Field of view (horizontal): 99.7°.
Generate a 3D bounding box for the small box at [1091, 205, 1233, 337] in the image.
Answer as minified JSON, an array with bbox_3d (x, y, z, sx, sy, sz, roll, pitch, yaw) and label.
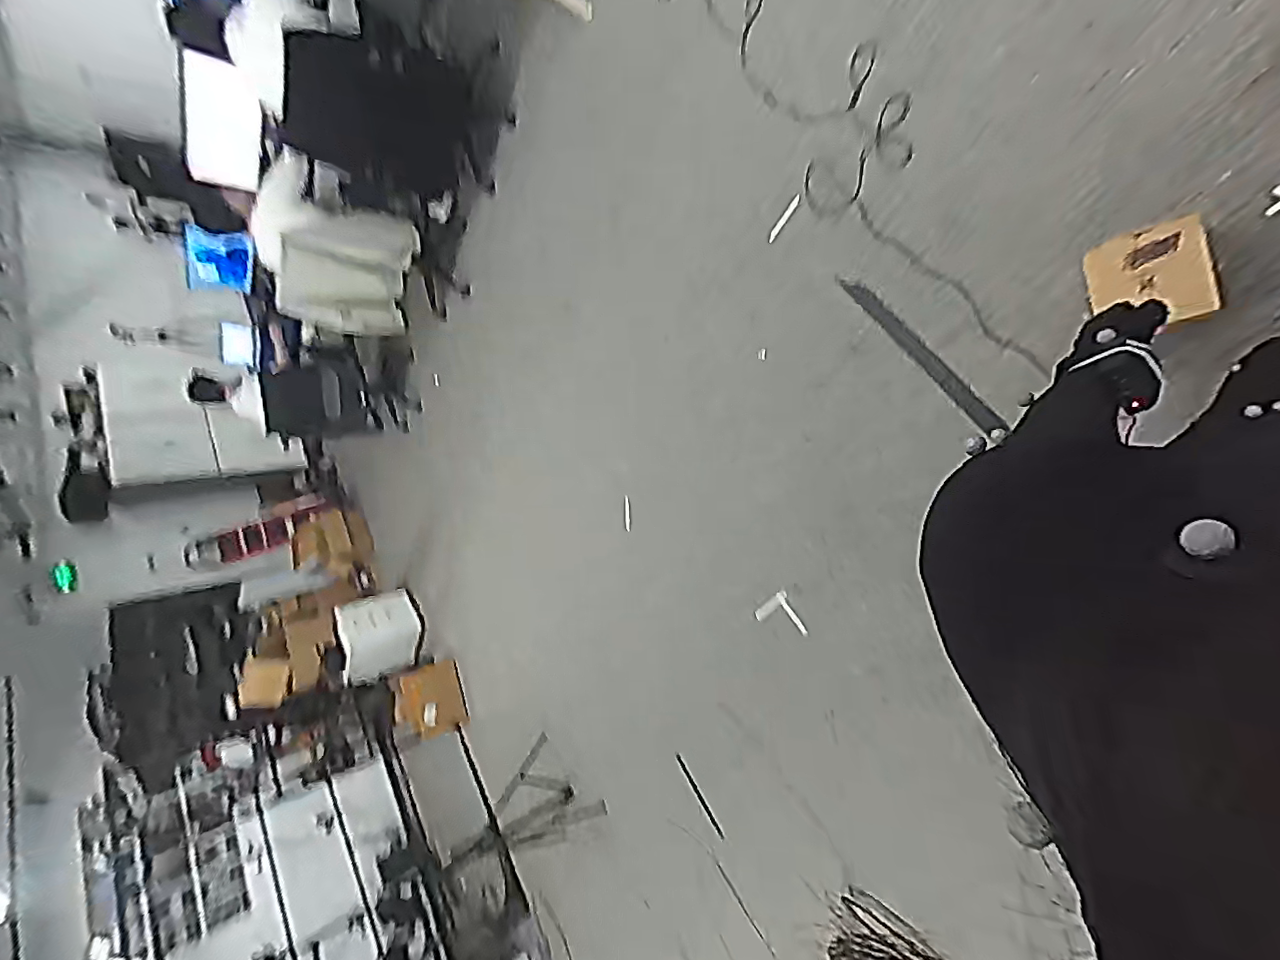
[{"bbox_3d":[0.988,-0.383,1.026,0.168,0.176,0.179,-13,89,49],"label":"small box"}]
